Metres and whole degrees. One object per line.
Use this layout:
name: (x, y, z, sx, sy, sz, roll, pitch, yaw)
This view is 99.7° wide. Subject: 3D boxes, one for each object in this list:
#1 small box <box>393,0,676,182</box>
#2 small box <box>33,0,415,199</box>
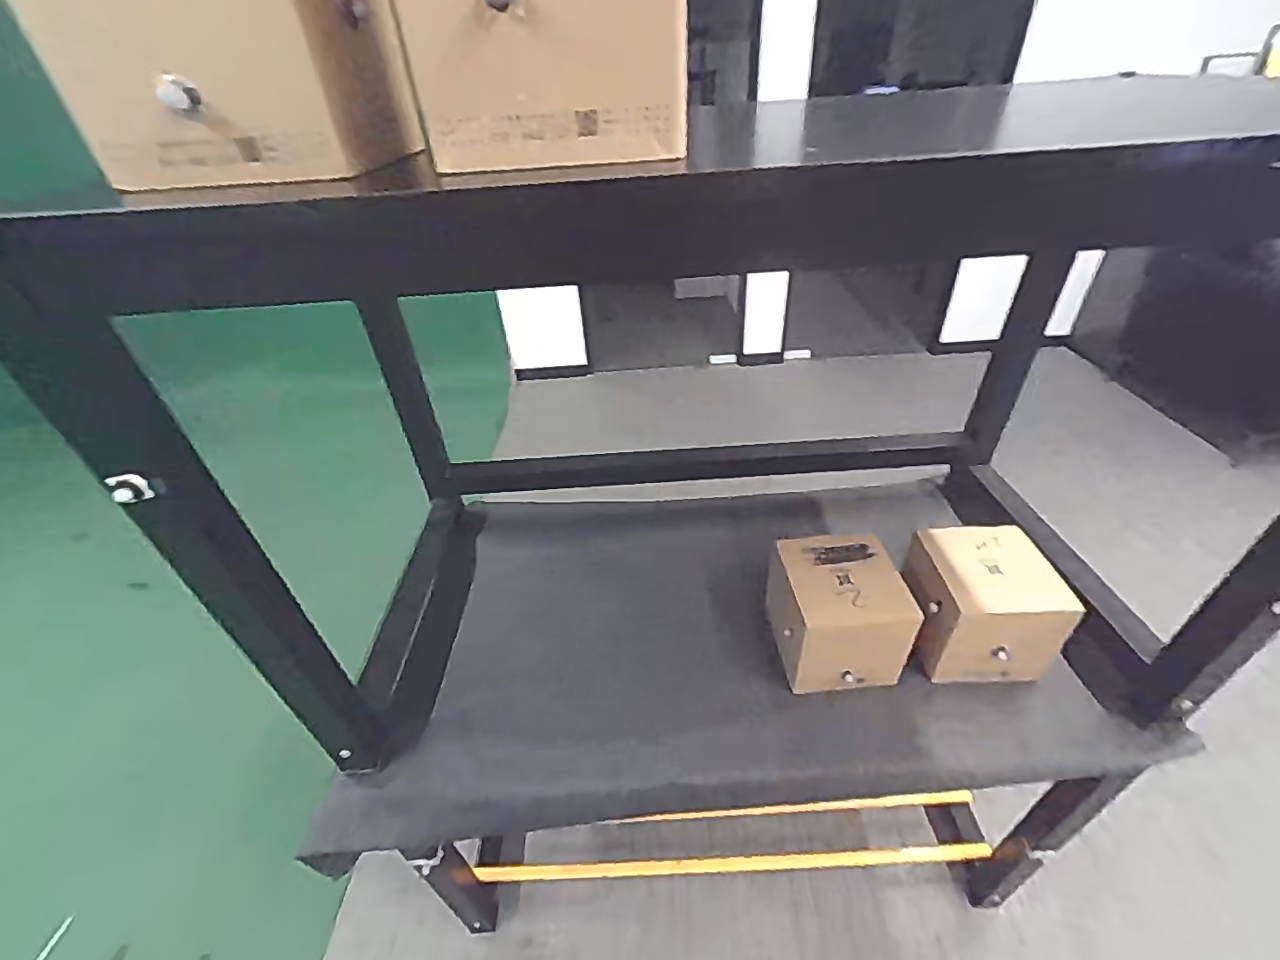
small box: (-0.062, -0.318, 0.385, 0.168, 0.176, 0.179, -3, 36, 2)
small box: (-0.287, -0.314, 0.399, 0.168, 0.176, 0.179, -3, 38, 1)
